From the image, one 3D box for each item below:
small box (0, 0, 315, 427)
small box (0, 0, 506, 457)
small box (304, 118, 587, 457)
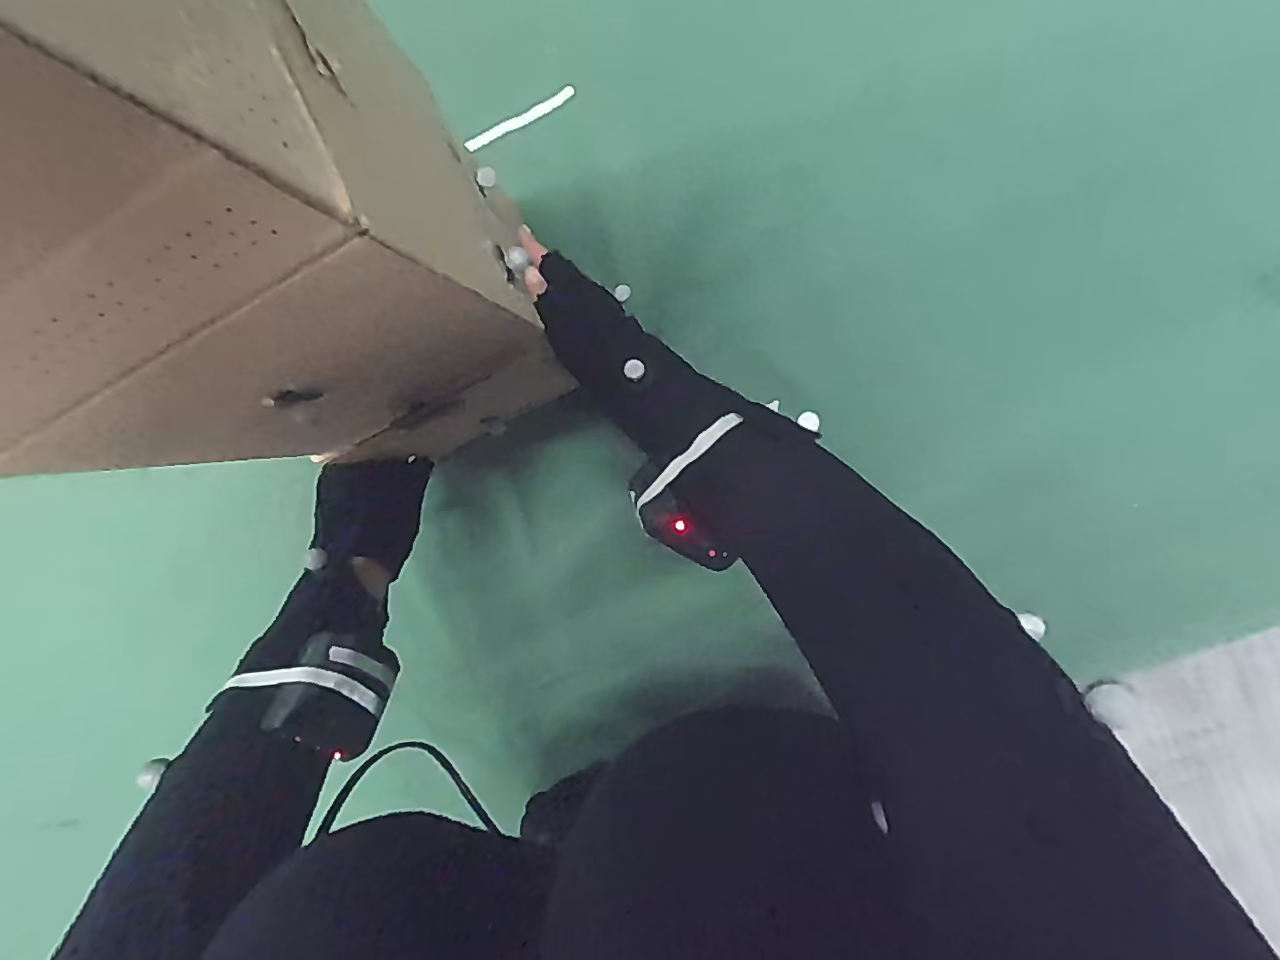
[{"bbox_3d":[-0.209,-0.104,0.092,0.179,0.176,0.168,-26,91,9],"label":"small box"},{"bbox_3d":[-0.182,-0.119,0.249,0.179,0.176,0.168,-22,90,10],"label":"small box"},{"bbox_3d":[-0.161,-0.129,0.414,0.168,0.176,0.179,-25,91,11],"label":"small box"}]
